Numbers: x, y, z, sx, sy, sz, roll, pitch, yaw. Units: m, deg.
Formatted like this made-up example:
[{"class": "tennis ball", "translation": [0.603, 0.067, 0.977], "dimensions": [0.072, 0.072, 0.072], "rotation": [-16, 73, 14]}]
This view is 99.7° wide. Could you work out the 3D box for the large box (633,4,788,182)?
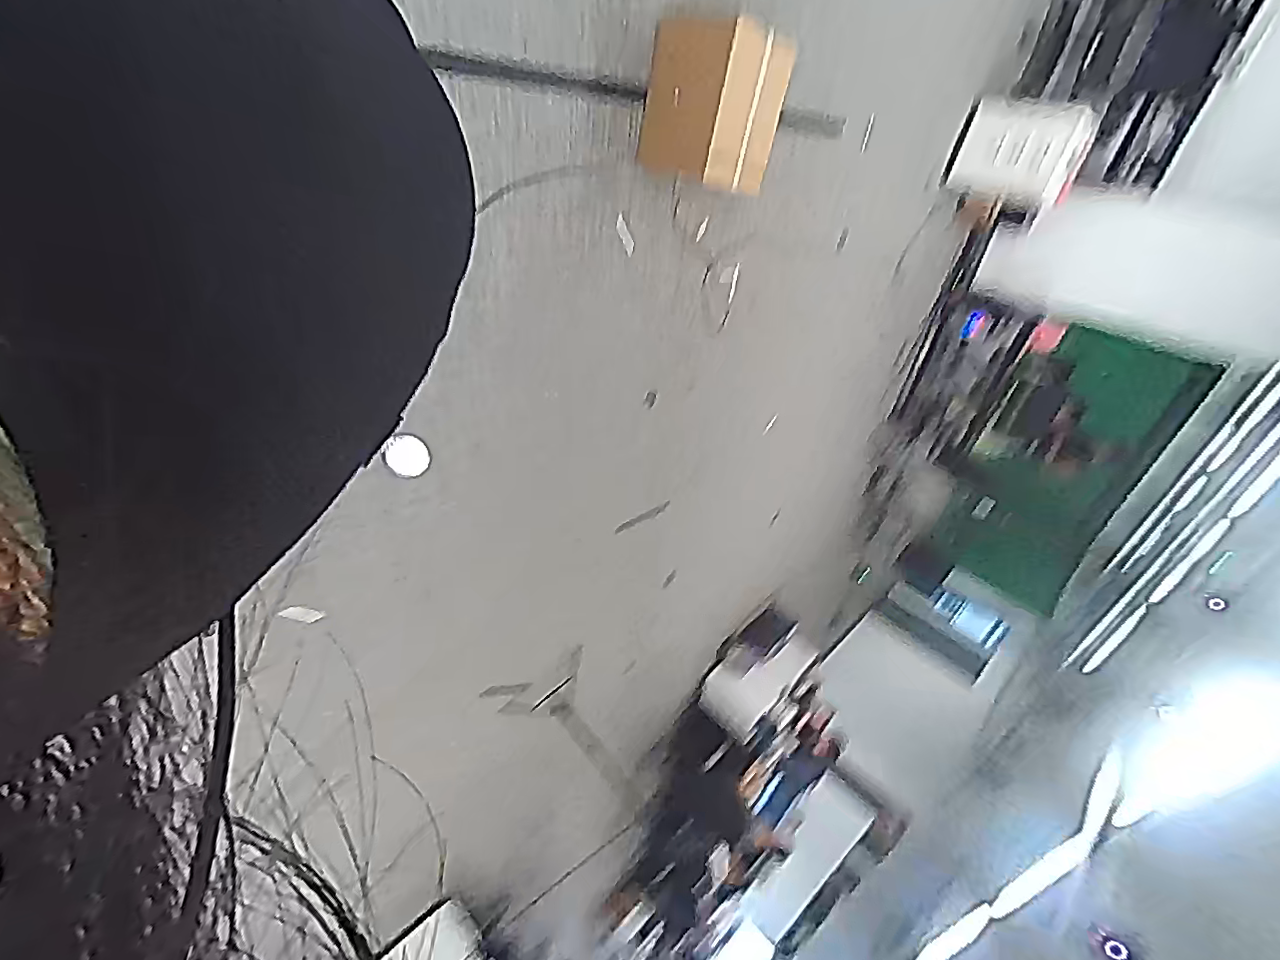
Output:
[{"class": "large box", "translation": [0.212, -1.217, 1.725], "dimensions": [0.320, 0.320, 0.408], "rotation": [-19, 132, -42]}]
